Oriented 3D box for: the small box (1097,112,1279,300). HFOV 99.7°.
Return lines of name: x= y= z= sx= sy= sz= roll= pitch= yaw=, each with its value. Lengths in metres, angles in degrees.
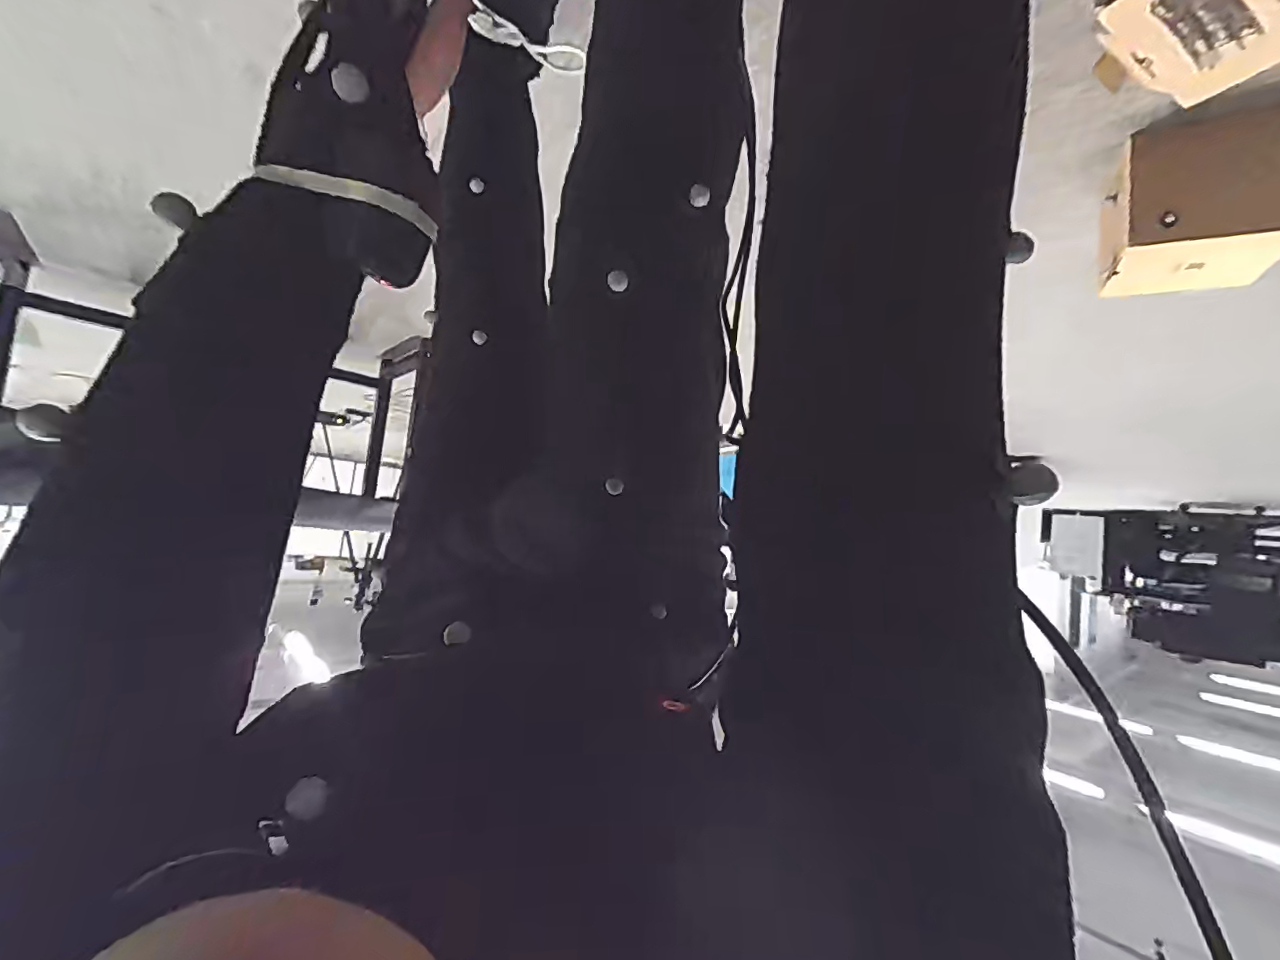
small box: x=0.774 y=-0.374 z=0.757 sx=0.179 sy=0.176 sz=0.168 roll=4 pitch=175 yaw=30
